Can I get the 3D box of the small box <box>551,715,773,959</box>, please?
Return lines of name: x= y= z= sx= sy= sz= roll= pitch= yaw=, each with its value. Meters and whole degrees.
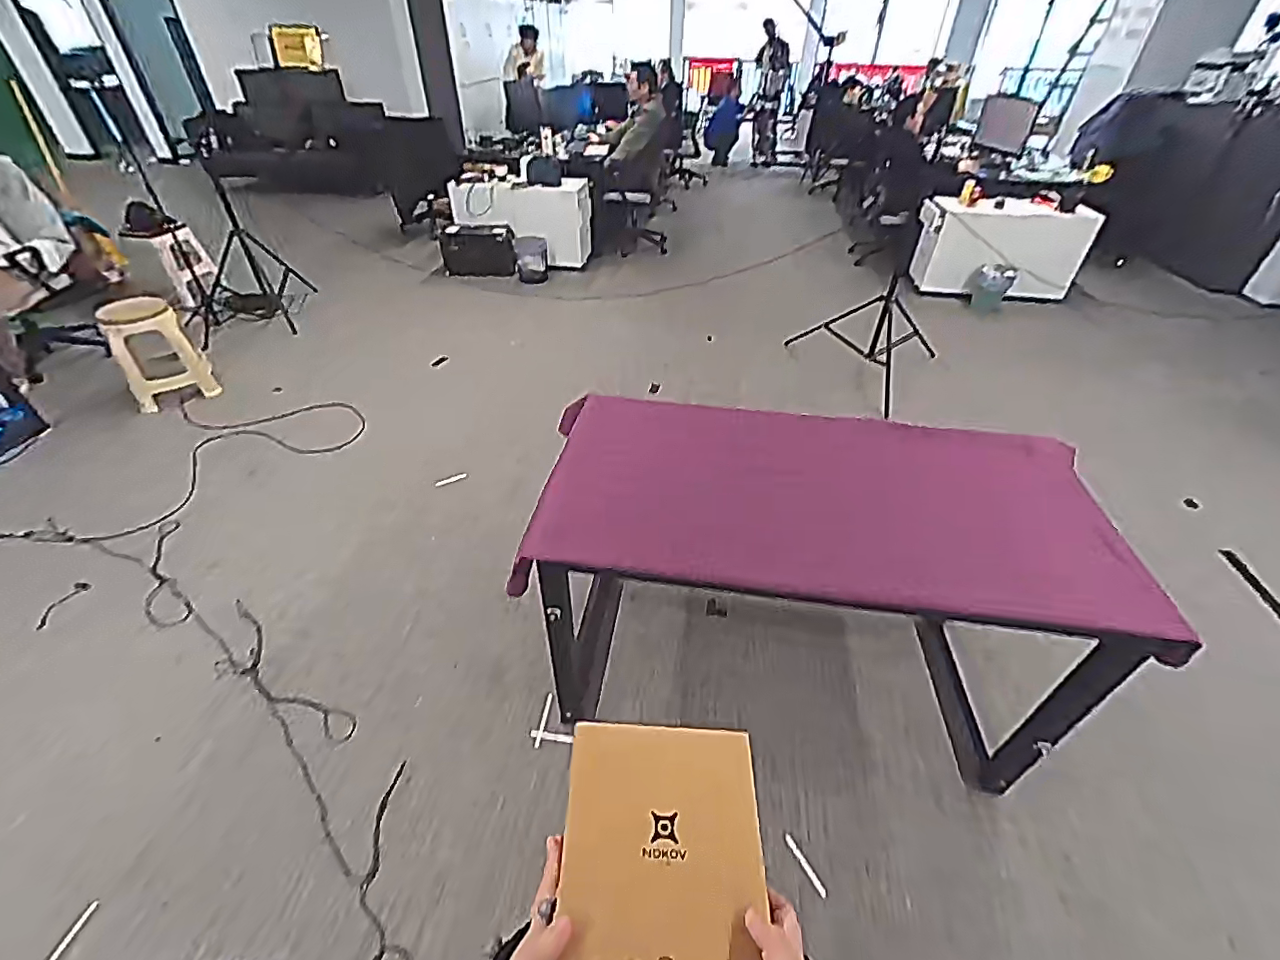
small box: x=0.009 y=0.346 z=0.505 sx=0.168 sy=0.176 sz=0.179 roll=6 pitch=44 yaw=-4
